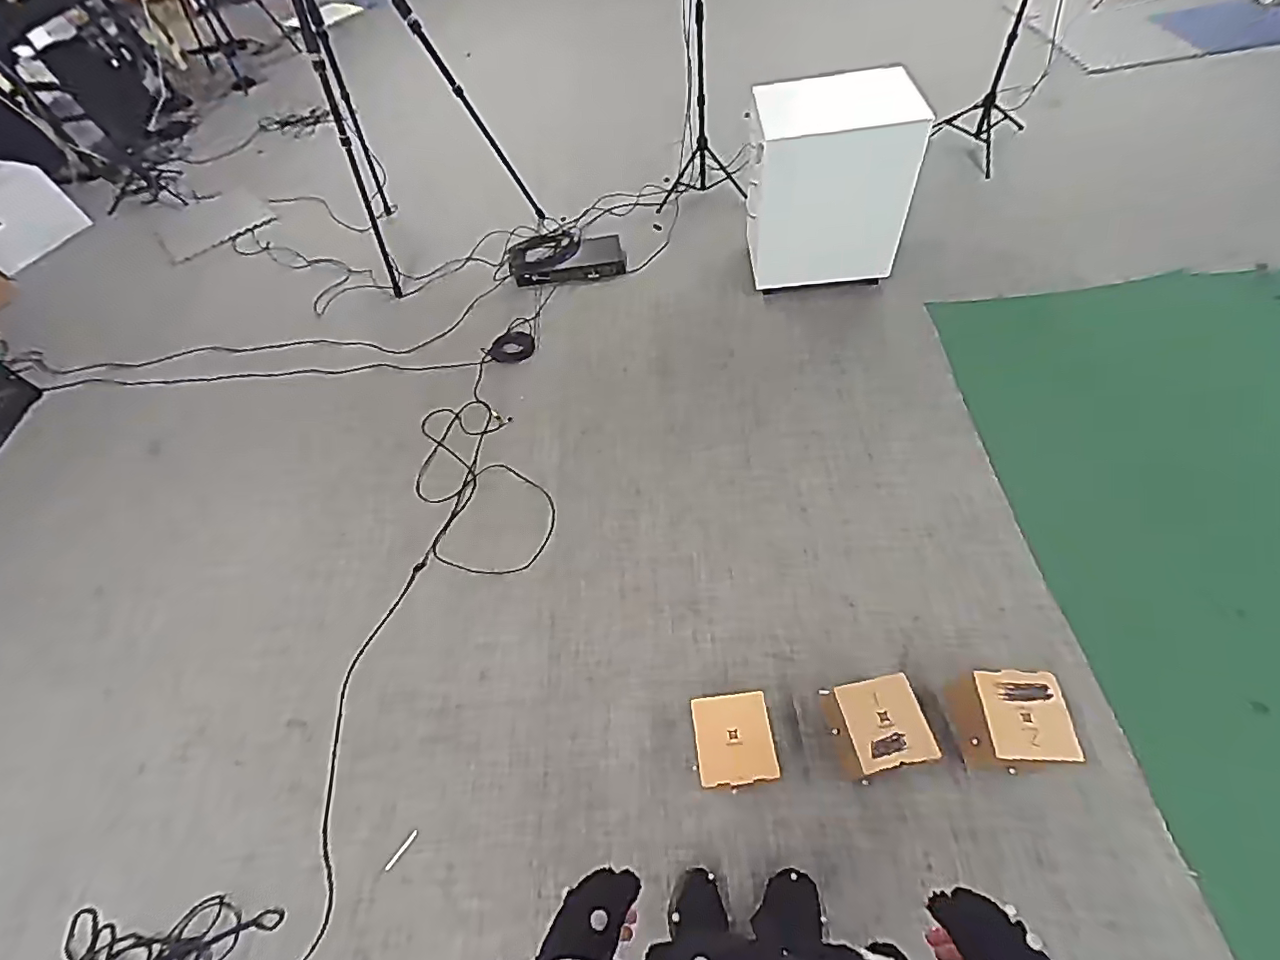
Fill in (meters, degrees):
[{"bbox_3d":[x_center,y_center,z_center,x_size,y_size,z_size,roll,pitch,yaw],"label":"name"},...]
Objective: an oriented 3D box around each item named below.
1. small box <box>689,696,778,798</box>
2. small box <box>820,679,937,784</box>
[{"bbox_3d":[0.204,0.607,1.223,0.168,0.176,0.179,-9,56,3],"label":"small box"},{"bbox_3d":[0.519,0.566,1.205,0.168,0.176,0.179,-12,54,-1],"label":"small box"}]
